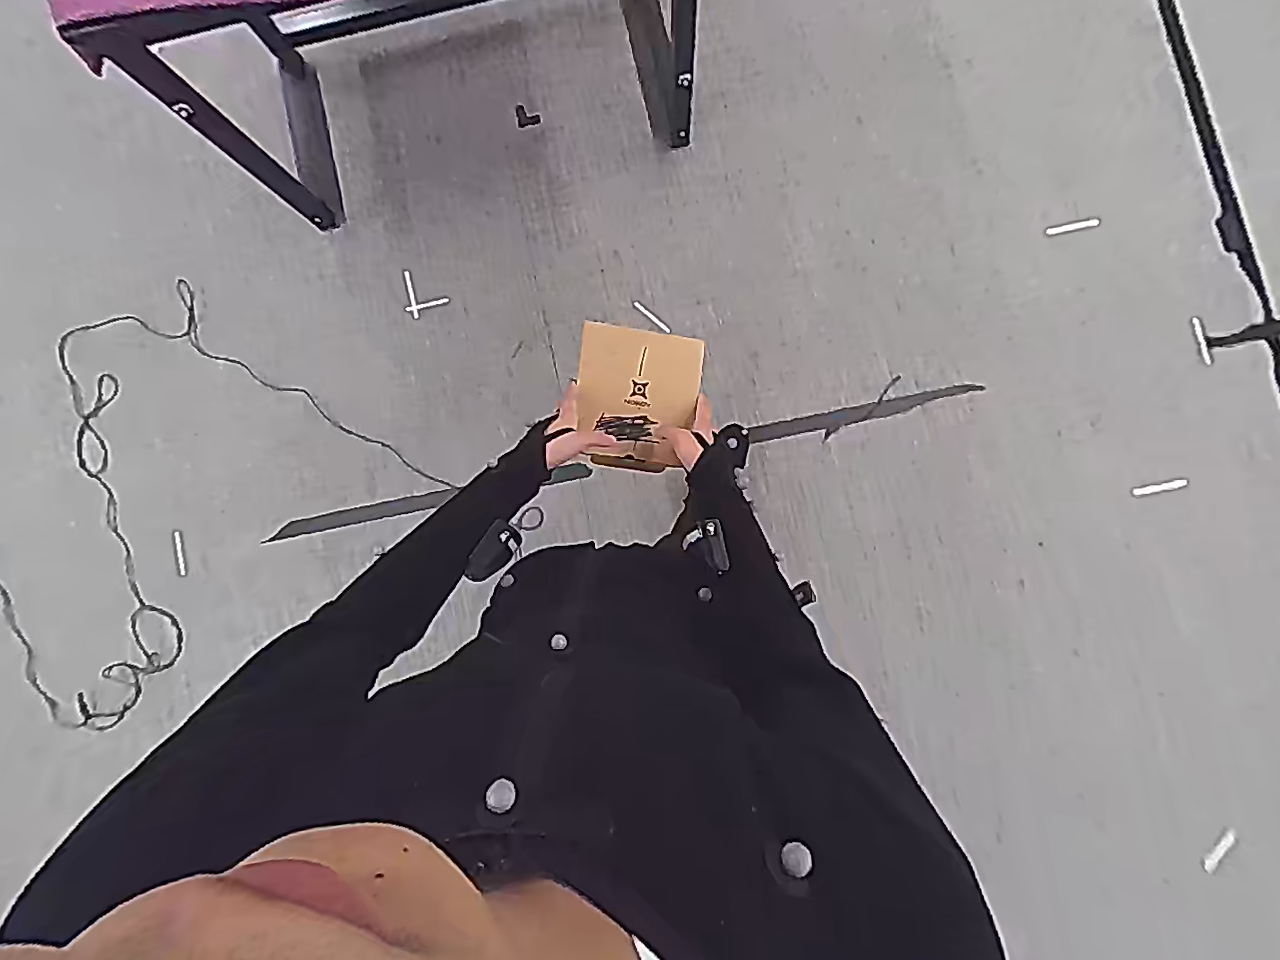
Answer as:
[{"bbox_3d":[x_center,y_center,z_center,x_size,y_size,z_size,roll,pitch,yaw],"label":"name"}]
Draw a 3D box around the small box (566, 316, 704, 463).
[{"bbox_3d":[-0.015,-0.130,0.801,0.168,0.176,0.179,7,97,-8],"label":"small box"}]
